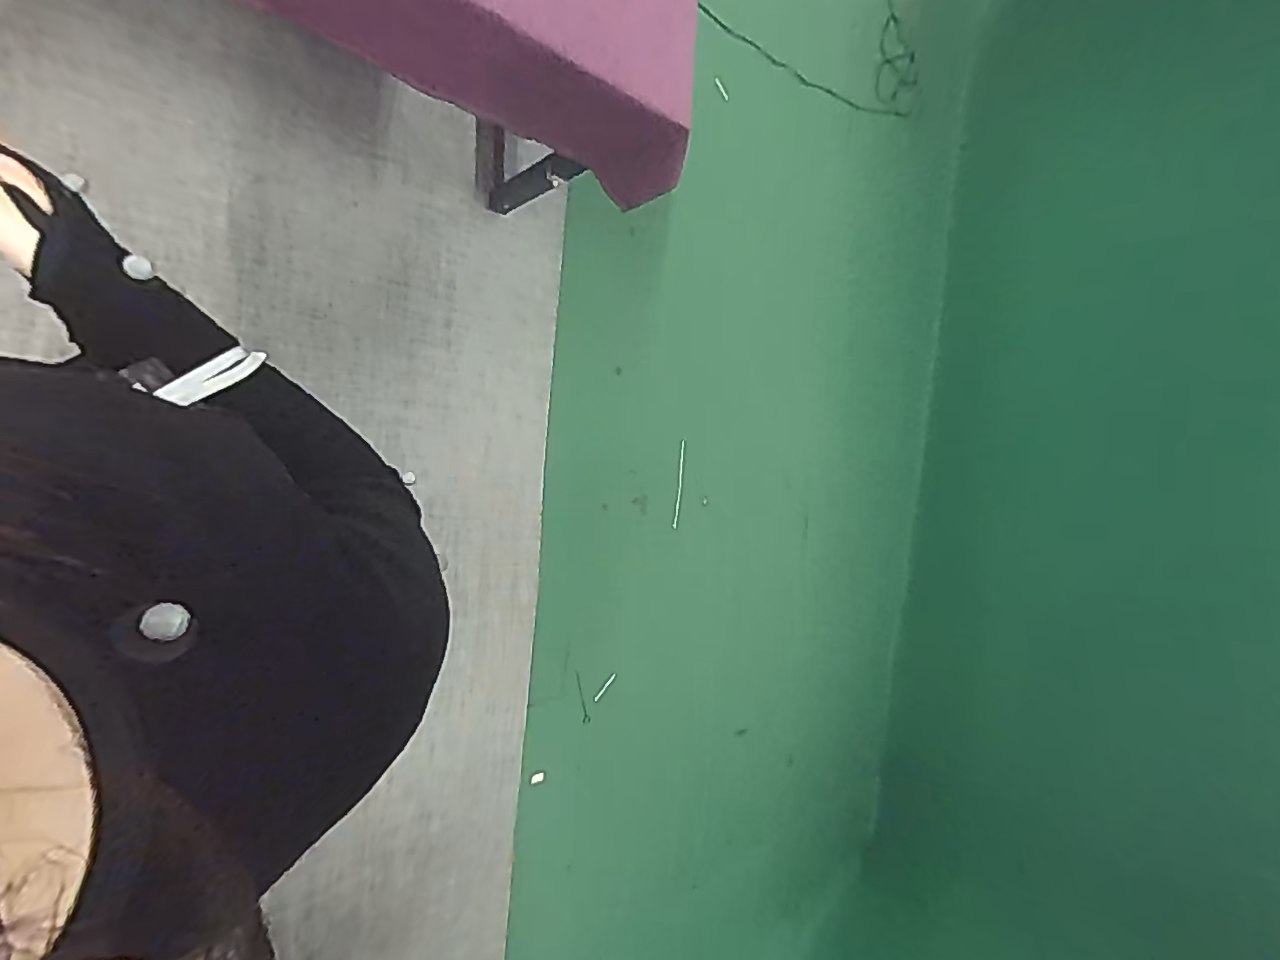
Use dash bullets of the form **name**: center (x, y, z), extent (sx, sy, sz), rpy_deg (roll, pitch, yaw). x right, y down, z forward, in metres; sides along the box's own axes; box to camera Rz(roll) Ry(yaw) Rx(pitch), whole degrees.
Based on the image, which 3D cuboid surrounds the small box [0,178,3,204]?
- **small box**: center (-0.497, -0.263, 0.295), extent (0.168, 0.176, 0.179), rpy_deg (-14, 108, -44)
